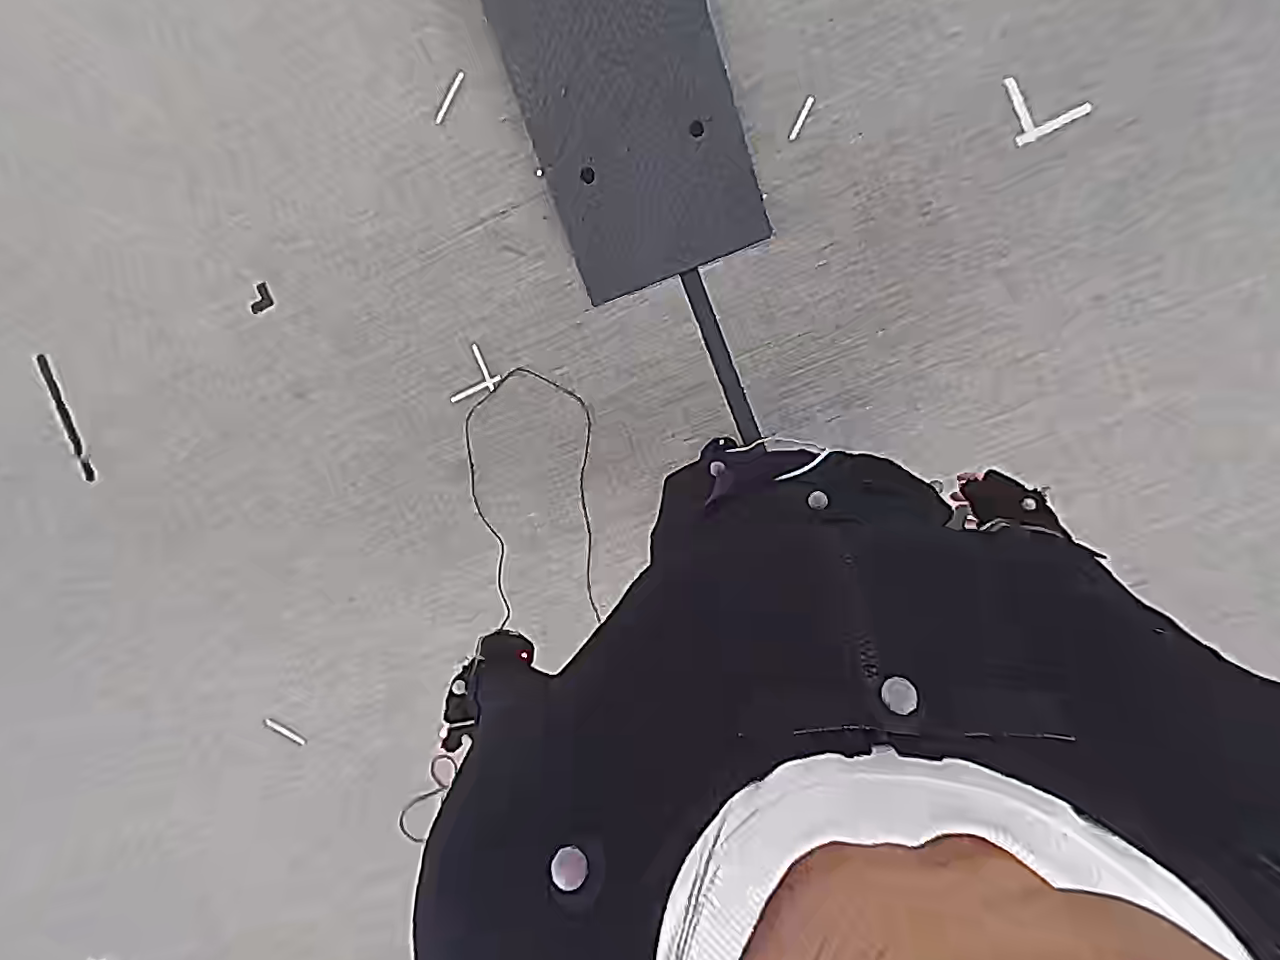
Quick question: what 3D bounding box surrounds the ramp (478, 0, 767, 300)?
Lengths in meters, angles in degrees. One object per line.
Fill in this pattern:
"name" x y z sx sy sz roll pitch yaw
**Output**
"ramp" -0.073 -0.998 1.274 0.509 0.206 0.991 -21 94 6
